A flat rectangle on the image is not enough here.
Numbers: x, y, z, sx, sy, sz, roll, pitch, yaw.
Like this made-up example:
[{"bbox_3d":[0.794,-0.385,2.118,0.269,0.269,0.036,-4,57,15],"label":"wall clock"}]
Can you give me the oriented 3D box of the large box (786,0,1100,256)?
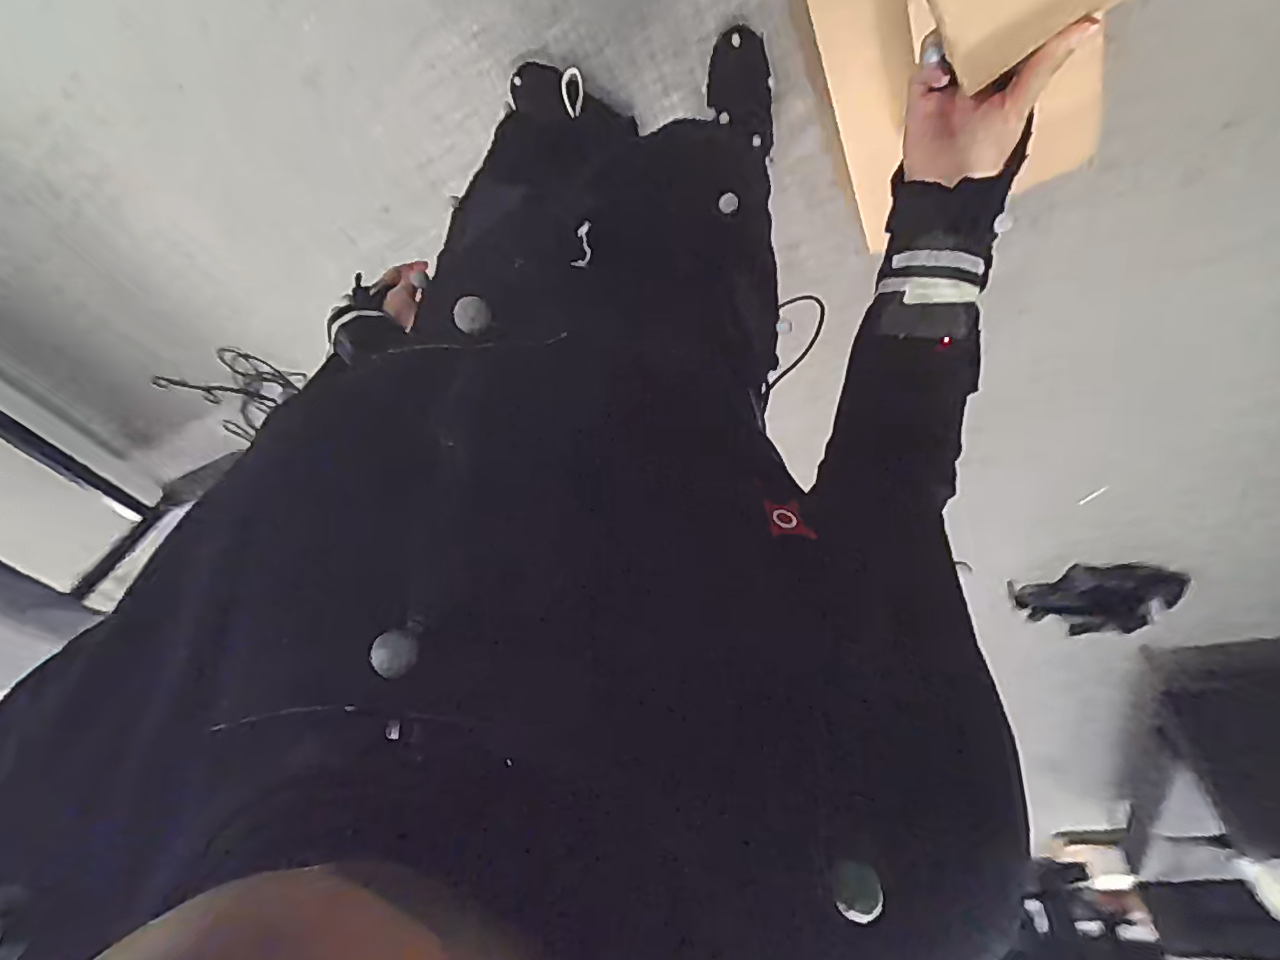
[{"bbox_3d":[0.432,-0.641,0.813,0.320,0.320,0.408,-17,131,24],"label":"large box"}]
